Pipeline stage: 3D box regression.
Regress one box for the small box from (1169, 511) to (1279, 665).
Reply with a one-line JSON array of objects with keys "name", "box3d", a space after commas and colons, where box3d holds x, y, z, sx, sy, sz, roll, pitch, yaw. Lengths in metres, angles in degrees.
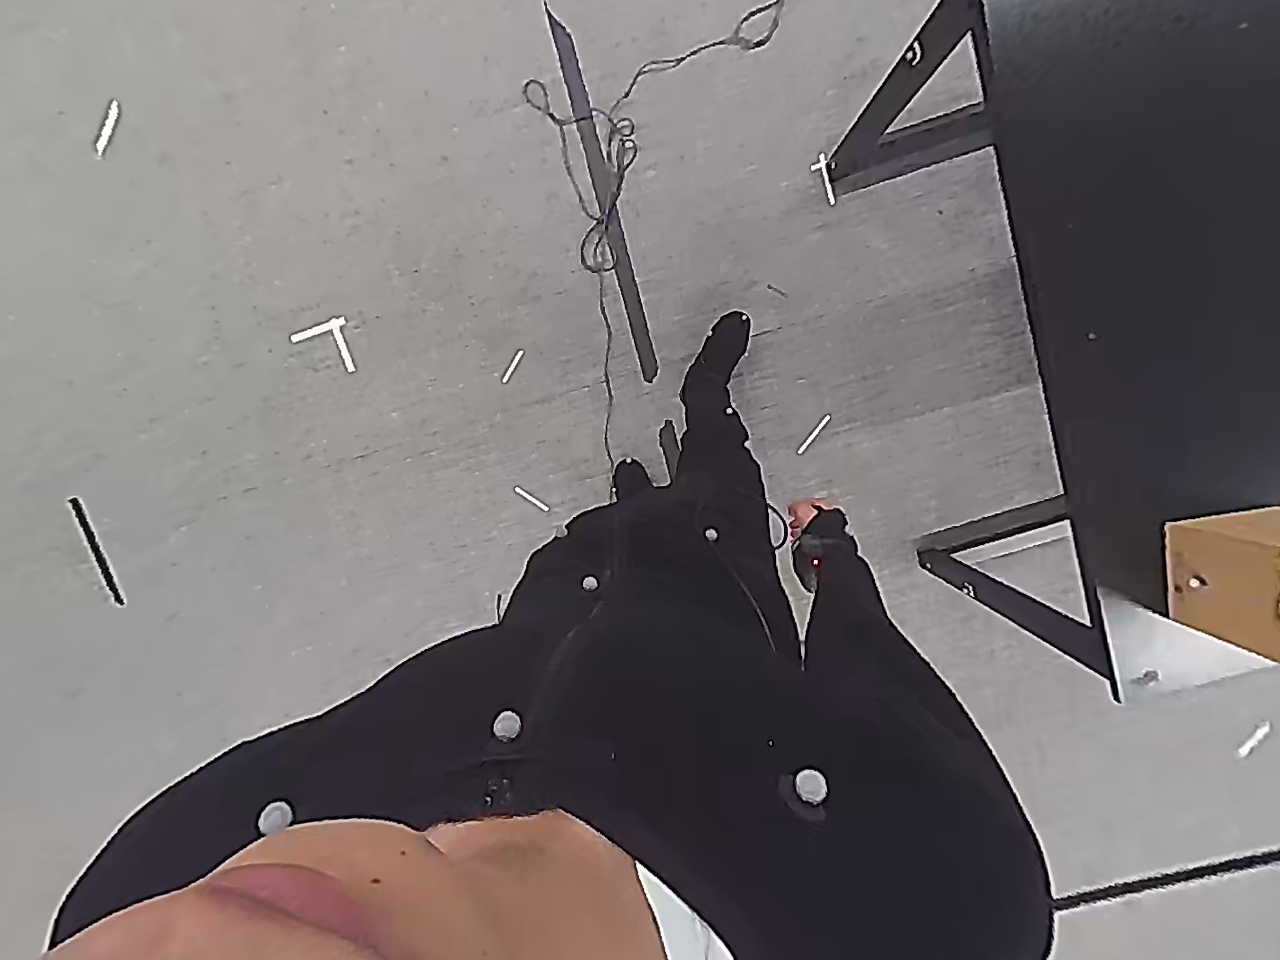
[{"name": "small box", "box3d": [0.930, 0.147, 0.780, 0.179, 0.176, 0.168, -9, 97, 3]}]
